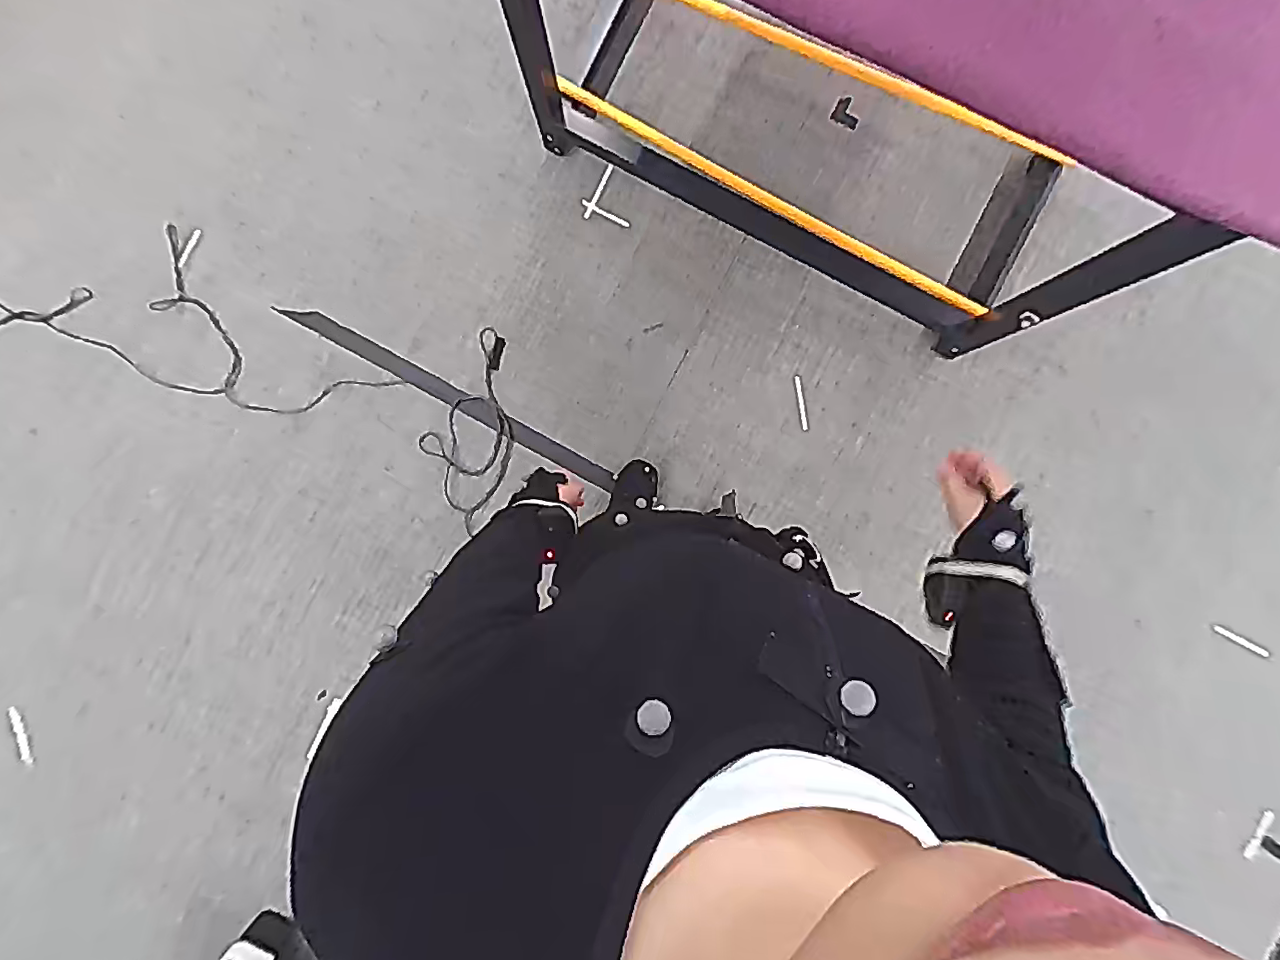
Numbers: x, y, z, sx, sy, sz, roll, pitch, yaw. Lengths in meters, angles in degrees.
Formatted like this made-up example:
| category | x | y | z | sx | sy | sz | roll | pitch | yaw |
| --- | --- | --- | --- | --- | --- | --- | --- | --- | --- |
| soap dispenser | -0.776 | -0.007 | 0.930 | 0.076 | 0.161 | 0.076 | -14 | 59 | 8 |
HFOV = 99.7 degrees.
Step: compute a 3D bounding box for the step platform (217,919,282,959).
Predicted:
| category | x | y | z | sx | sy | sz | roll | pitch | yaw |
| --- | --- | --- | --- | --- | --- | --- | --- | --- | --- |
| step platform | -0.768 | 1.391 | 1.293 | 0.684 | 0.204 | 0.286 | 28 | 90 | -1 |
